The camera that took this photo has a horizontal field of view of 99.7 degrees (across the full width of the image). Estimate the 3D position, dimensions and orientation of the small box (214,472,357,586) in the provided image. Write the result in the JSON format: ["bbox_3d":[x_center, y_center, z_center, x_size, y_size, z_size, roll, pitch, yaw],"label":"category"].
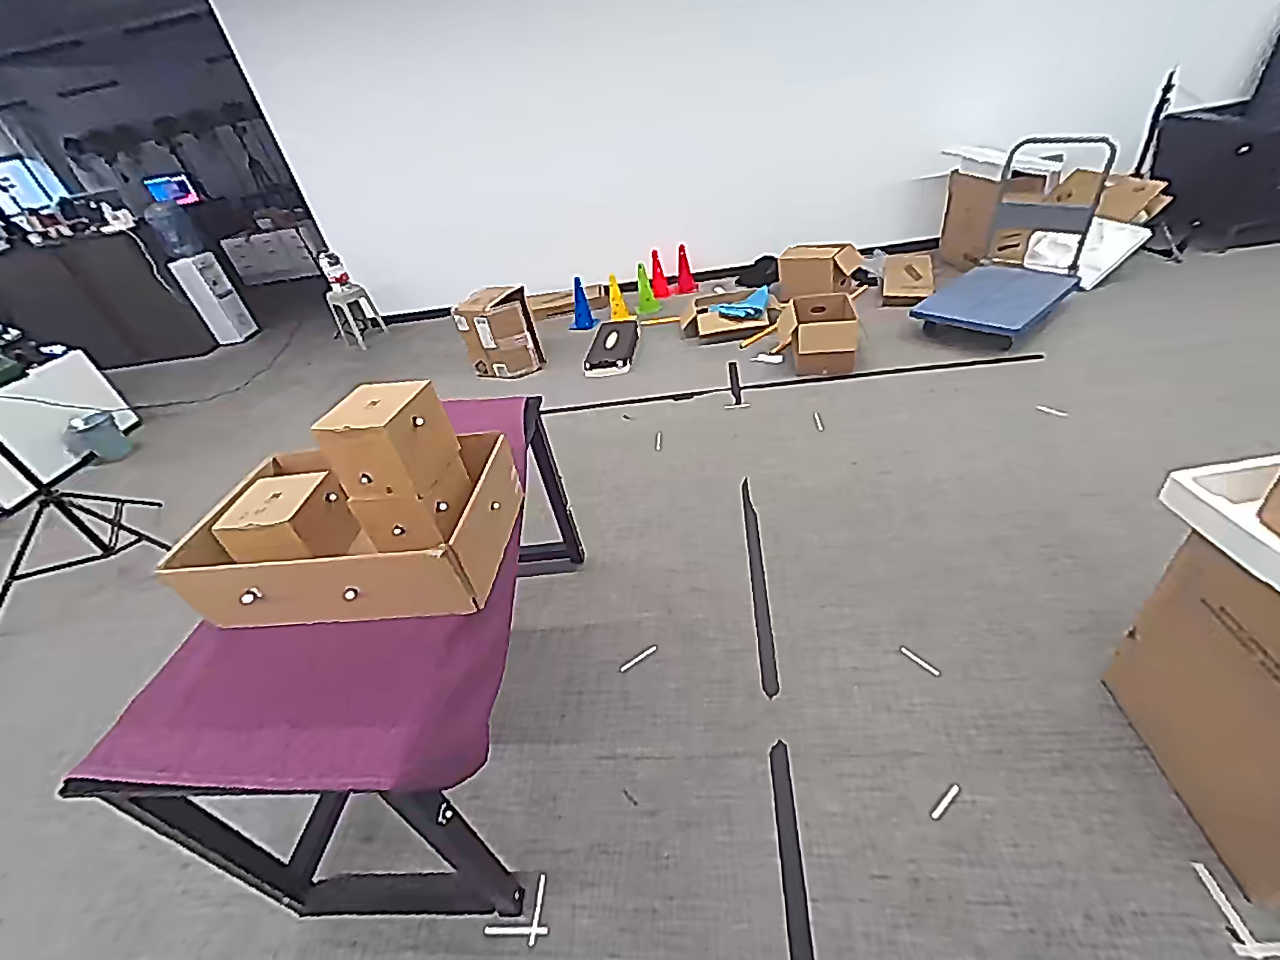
[{"bbox_3d":[-0.746,0.104,1.168,0.168,0.176,0.179,-6,36,5],"label":"small box"}]
